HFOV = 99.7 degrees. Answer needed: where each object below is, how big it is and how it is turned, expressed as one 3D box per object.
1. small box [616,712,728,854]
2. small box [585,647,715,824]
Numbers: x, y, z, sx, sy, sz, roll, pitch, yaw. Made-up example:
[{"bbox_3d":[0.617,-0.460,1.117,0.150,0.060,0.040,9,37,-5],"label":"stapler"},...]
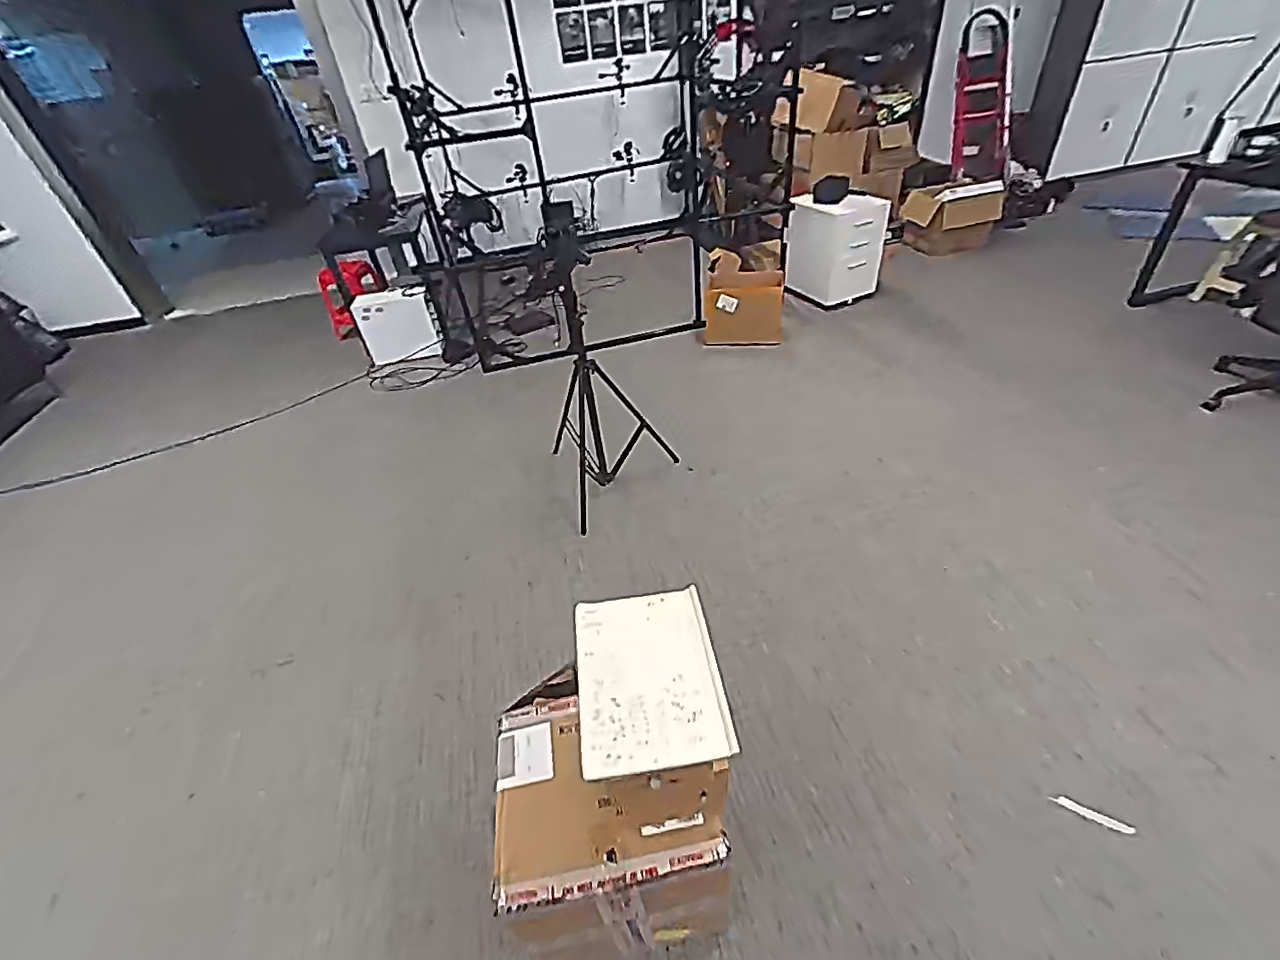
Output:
[{"bbox_3d":[0.039,0.501,0.918,0.179,0.176,0.168,-11,40,-6],"label":"small box"},{"bbox_3d":[0.009,0.380,0.808,0.168,0.176,0.179,-7,41,-4],"label":"small box"}]
